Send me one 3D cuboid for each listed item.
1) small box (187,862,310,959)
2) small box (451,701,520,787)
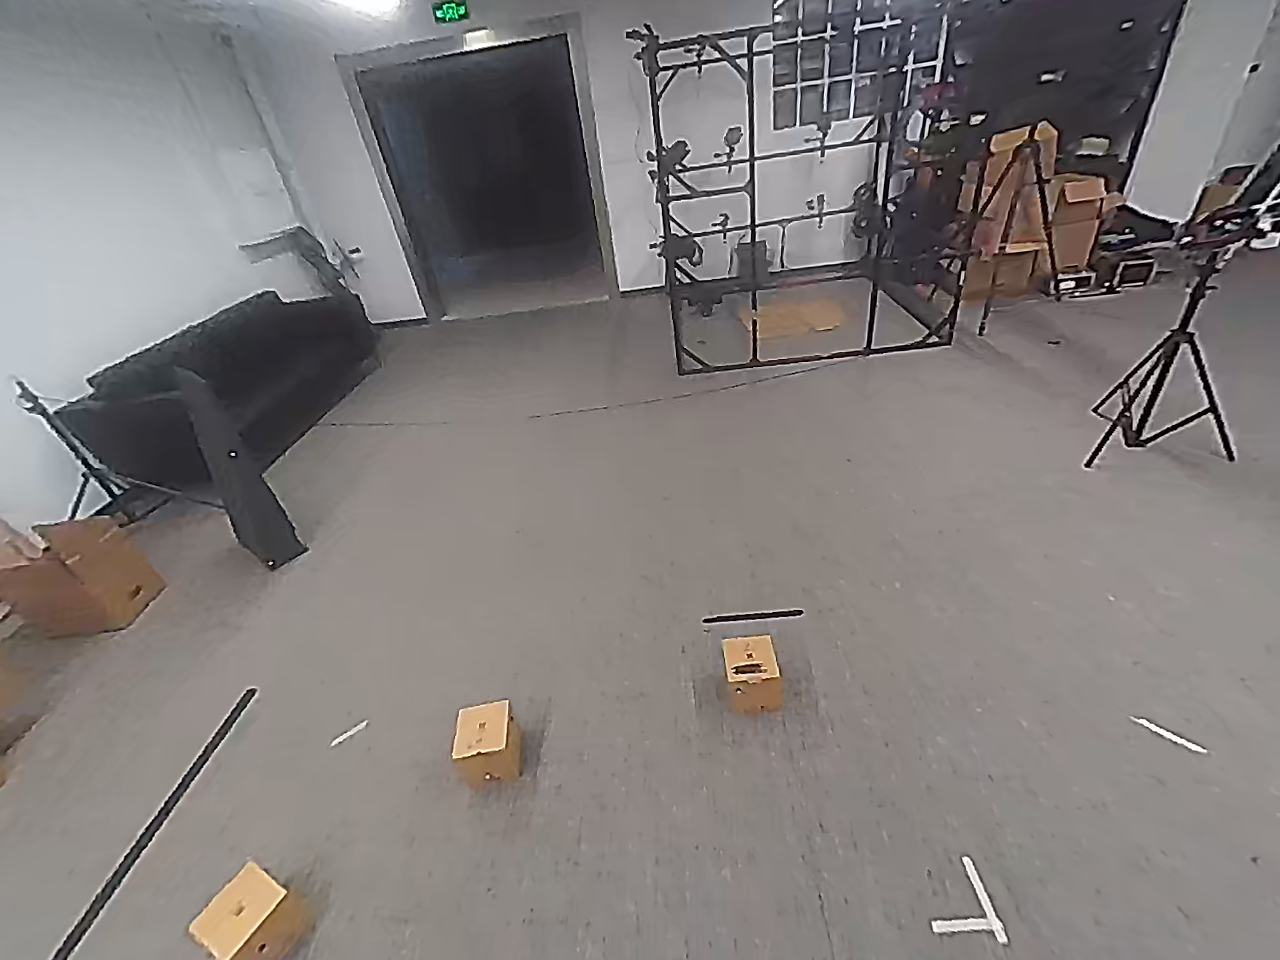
[{"bbox_3d":[-1.005,1.149,1.403,0.179,0.176,0.168,10,38,27],"label":"small box"},{"bbox_3d":[-0.489,0.848,1.739,0.168,0.176,0.179,-10,33,-3],"label":"small box"}]
